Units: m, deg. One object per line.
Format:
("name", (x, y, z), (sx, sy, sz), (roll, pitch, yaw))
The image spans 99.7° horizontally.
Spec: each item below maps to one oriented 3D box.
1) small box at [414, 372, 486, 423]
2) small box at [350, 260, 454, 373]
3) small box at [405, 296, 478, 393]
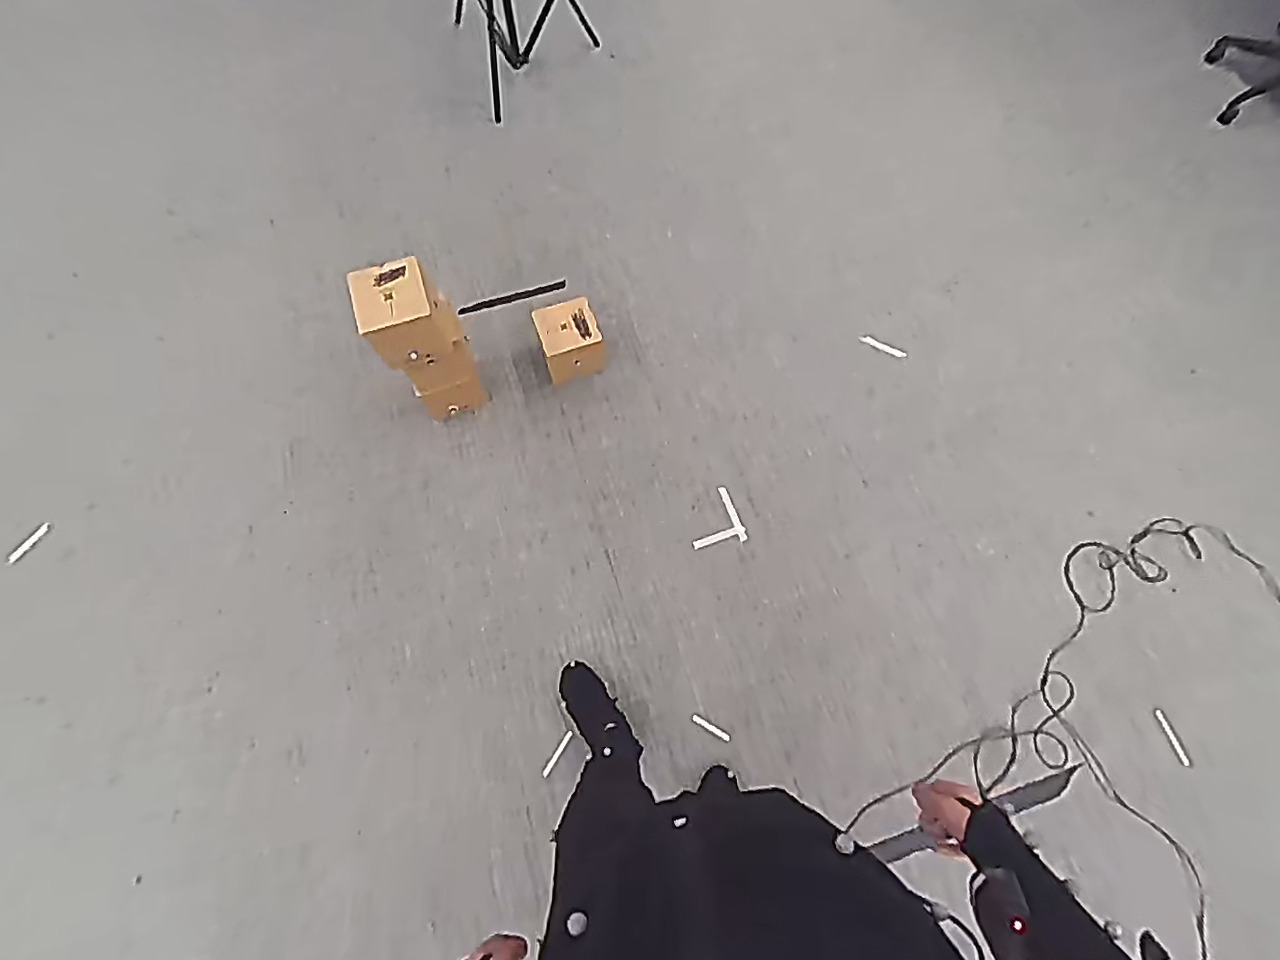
("small box", (-0.580, -0.302, 1.628), (0.168, 0.176, 0.179), (-20, 73, -8))
("small box", (-0.571, -0.391, 1.312), (0.168, 0.176, 0.179), (-18, 73, -6))
("small box", (-0.566, -0.363, 1.476), (0.179, 0.176, 0.168), (-22, 73, -8))
